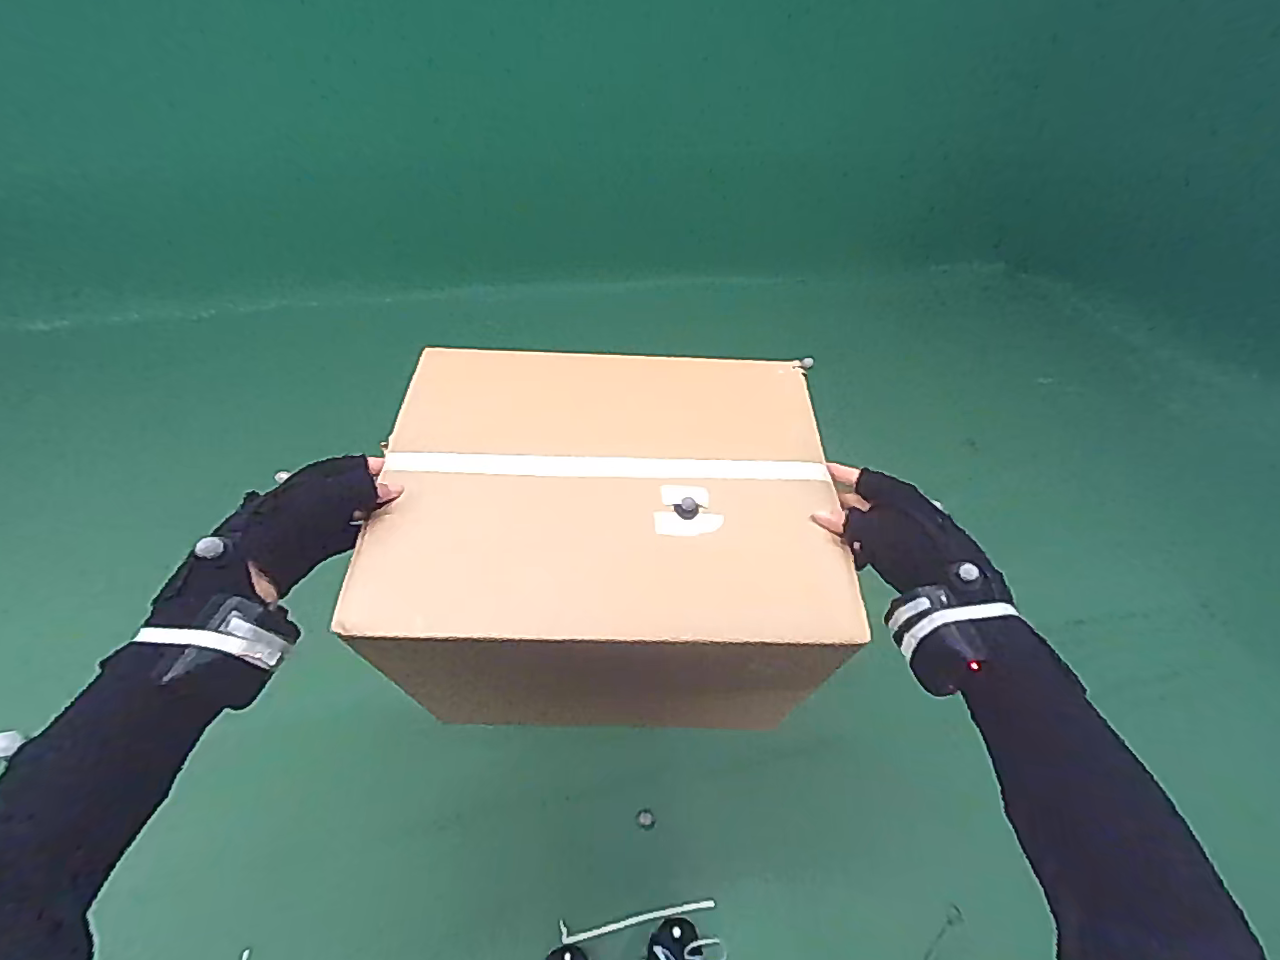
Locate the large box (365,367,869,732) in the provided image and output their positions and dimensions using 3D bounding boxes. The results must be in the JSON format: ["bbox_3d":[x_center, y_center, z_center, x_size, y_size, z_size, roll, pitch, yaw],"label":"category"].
[{"bbox_3d":[-0.024,0.092,0.626,0.408,0.320,0.320,2,54,-3],"label":"large box"}]
